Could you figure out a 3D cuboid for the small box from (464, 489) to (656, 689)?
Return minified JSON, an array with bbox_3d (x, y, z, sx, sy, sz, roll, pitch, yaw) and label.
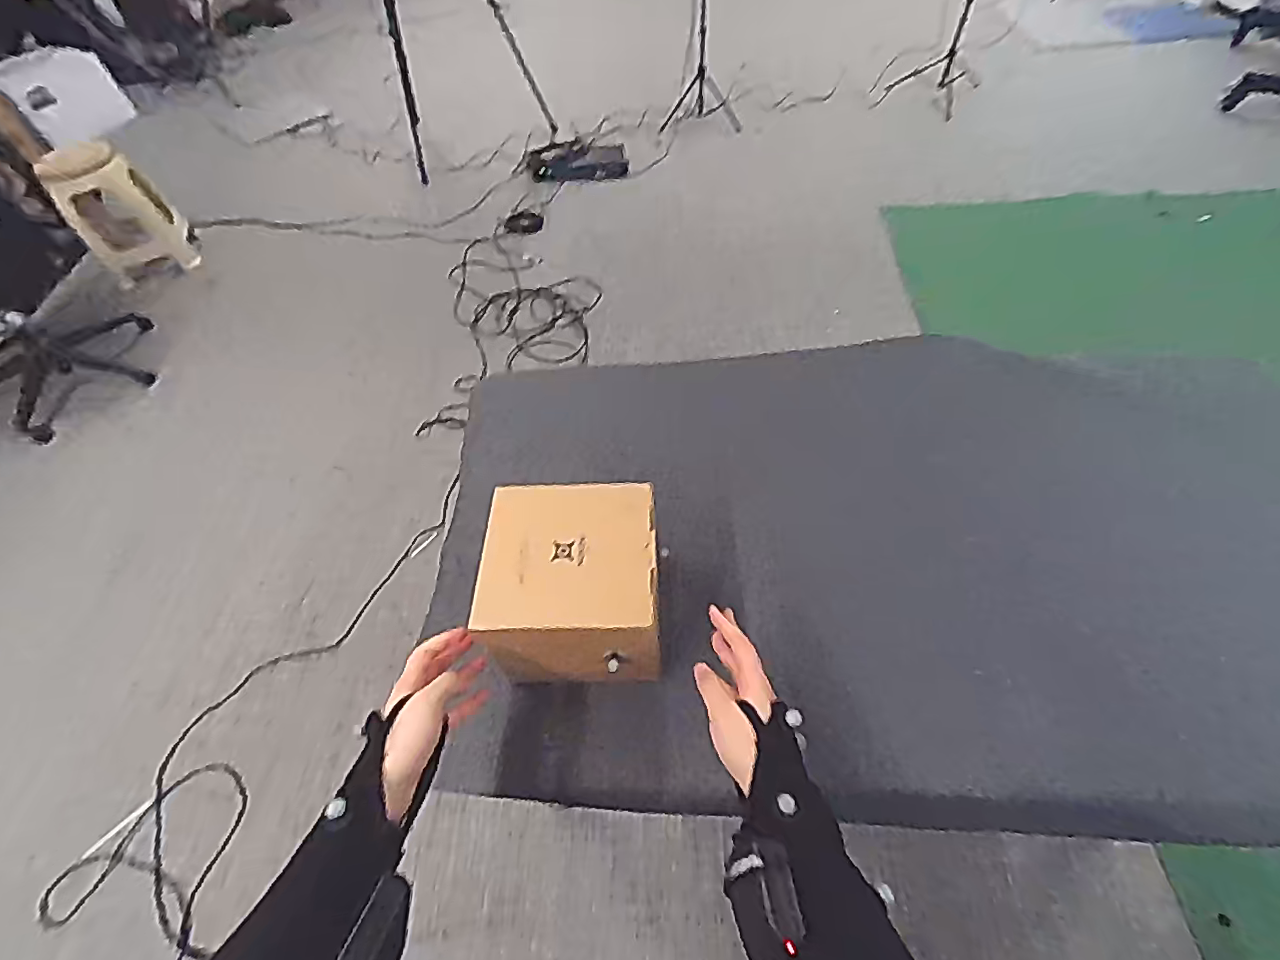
[{"bbox_3d":[-0.072,0.127,0.608,0.179,0.176,0.168,-4,52,3],"label":"small box"}]
